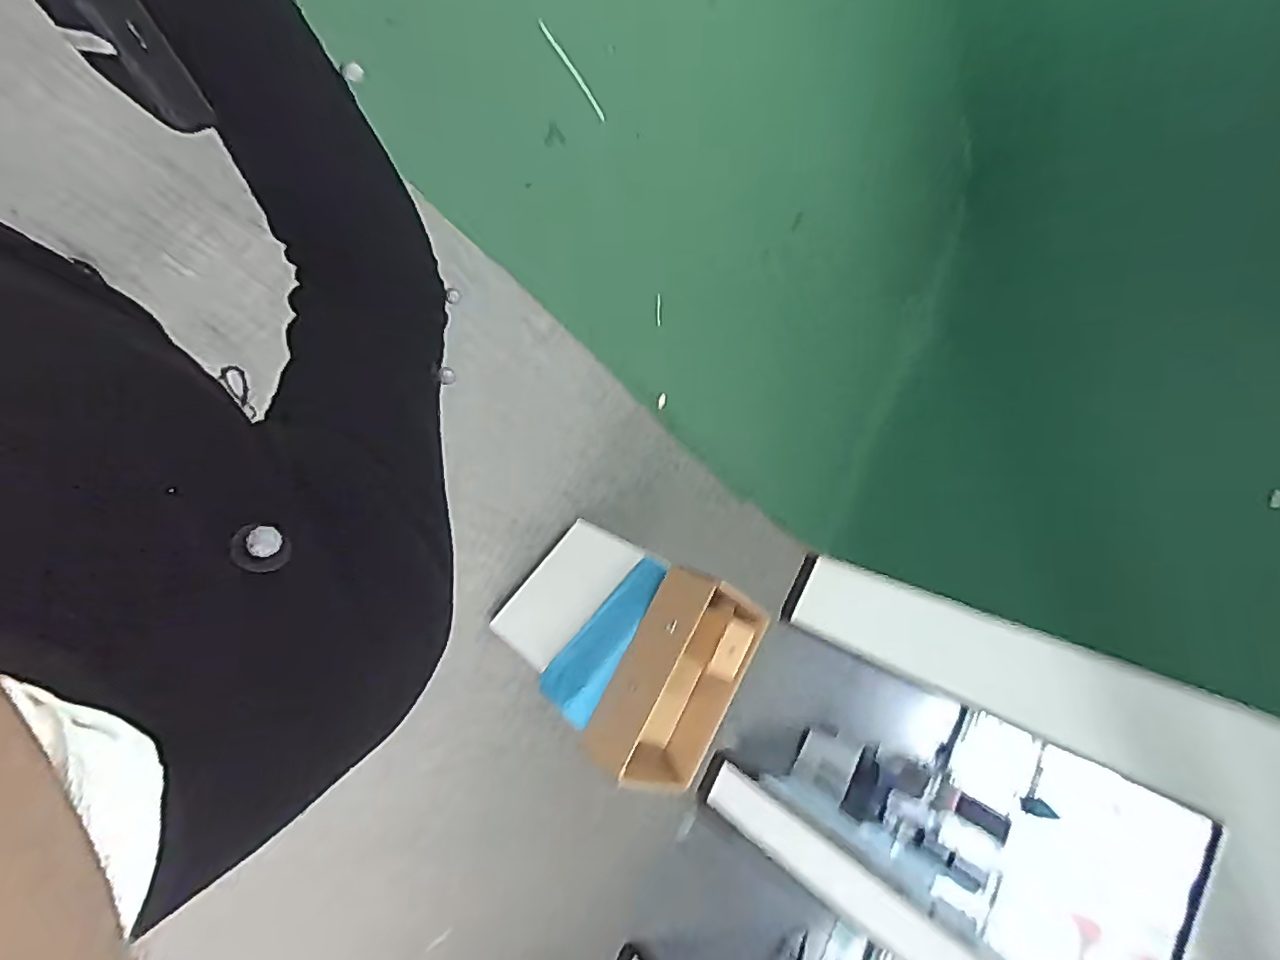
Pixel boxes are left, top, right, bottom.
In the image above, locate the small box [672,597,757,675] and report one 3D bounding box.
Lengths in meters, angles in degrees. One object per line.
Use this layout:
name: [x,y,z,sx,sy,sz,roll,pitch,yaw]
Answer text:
small box: [0.233,0.487,1.702,0.179,0.176,0.168,36,79,-45]
